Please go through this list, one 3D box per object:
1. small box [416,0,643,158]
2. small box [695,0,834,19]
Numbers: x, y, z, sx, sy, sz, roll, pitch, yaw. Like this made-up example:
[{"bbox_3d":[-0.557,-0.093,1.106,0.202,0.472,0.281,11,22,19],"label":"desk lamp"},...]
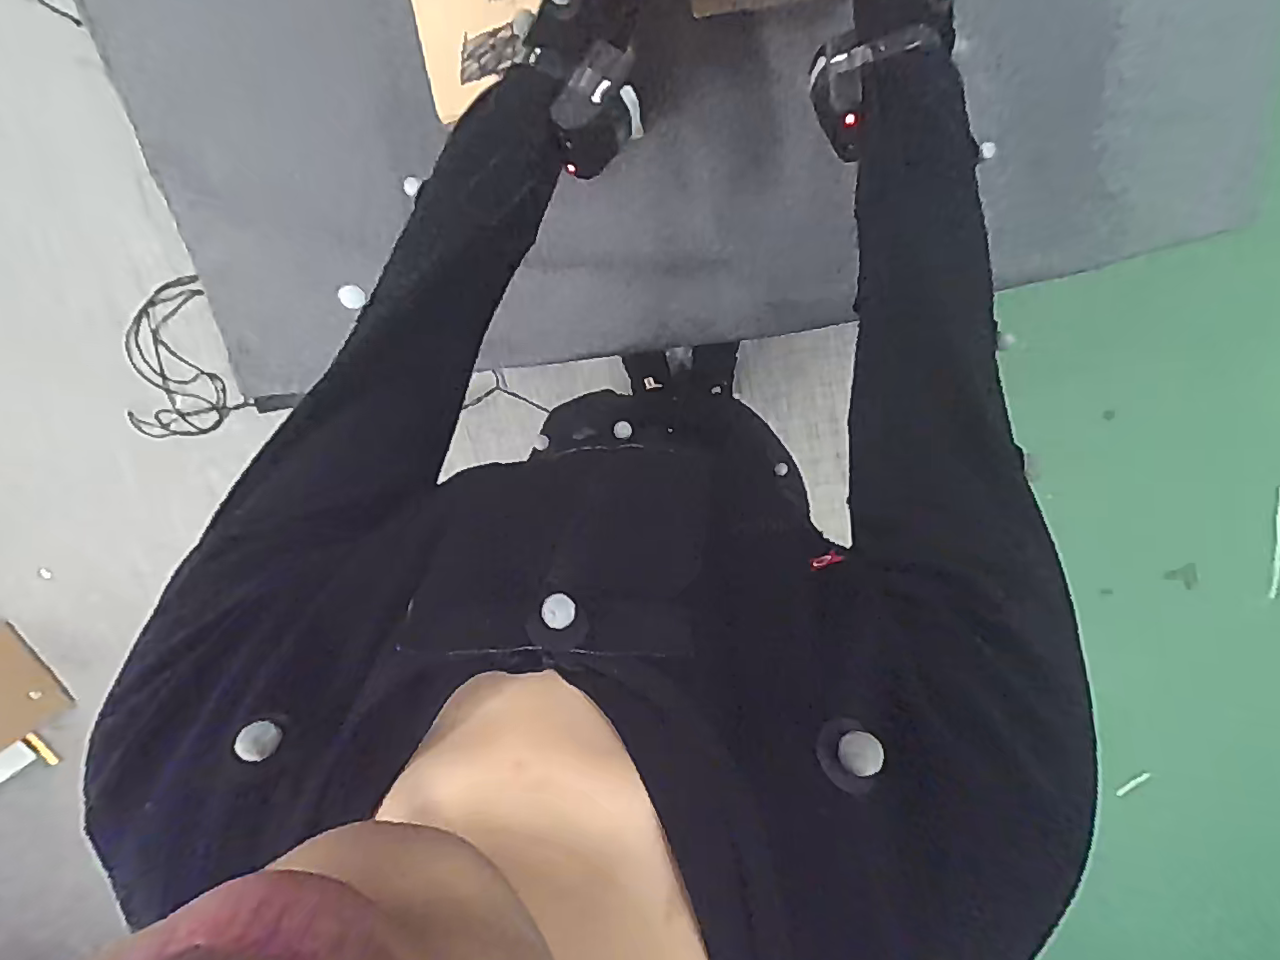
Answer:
[{"bbox_3d":[-0.096,-0.429,0.518,0.168,0.176,0.179,-6,107,10],"label":"small box"},{"bbox_3d":[0.118,-0.537,0.449,0.168,0.176,0.179,-2,109,9],"label":"small box"}]
